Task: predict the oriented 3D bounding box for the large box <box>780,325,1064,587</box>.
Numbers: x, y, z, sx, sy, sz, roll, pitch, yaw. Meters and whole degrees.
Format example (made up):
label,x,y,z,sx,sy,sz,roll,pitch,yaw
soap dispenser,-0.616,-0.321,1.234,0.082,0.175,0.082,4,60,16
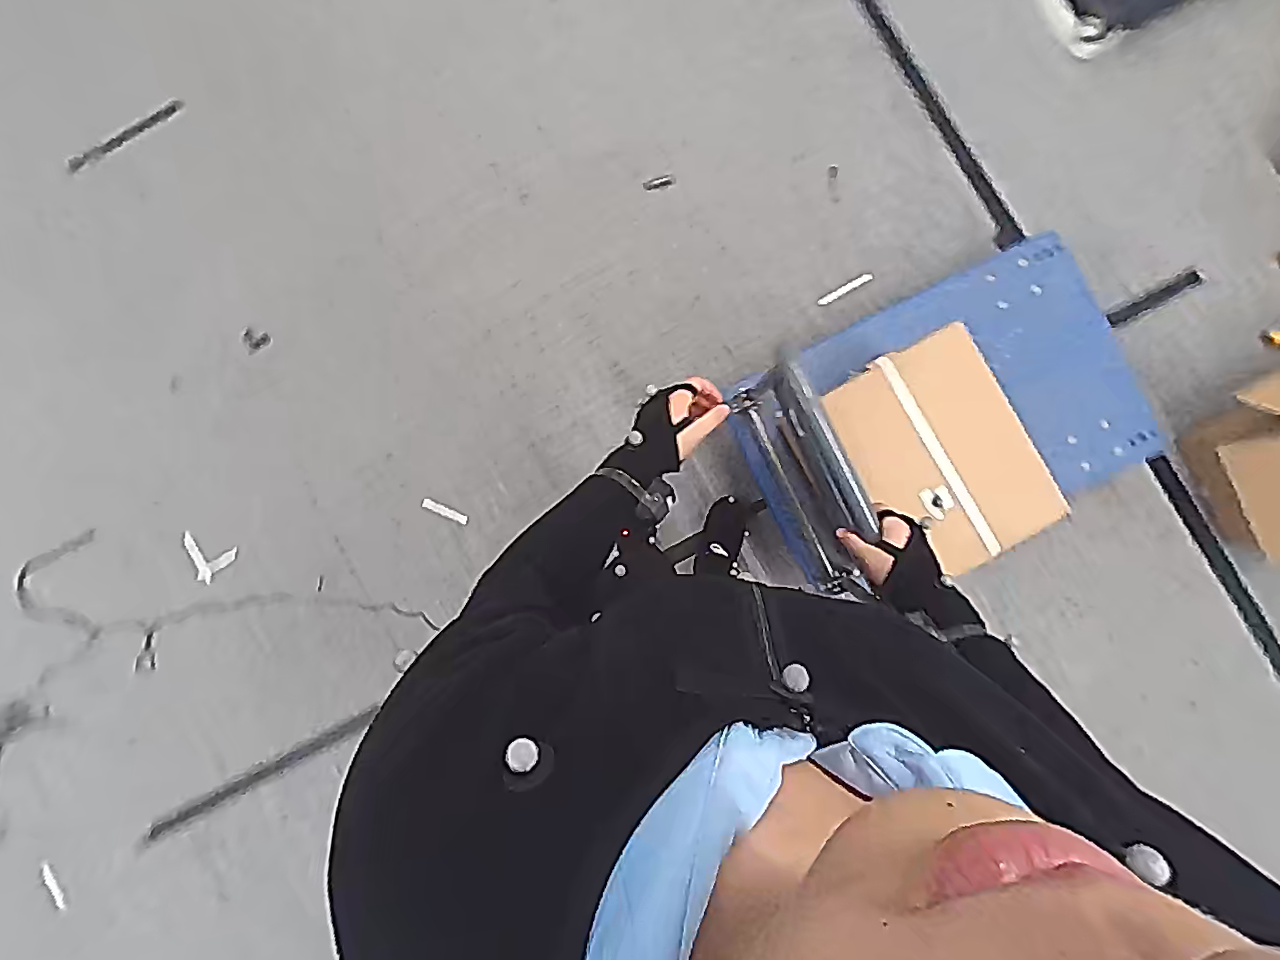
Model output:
label,x,y,z,sx,sy,sz,roll,pitch,yaw
large box,0.554,-0.046,1.146,0.320,0.320,0.408,-29,90,4
